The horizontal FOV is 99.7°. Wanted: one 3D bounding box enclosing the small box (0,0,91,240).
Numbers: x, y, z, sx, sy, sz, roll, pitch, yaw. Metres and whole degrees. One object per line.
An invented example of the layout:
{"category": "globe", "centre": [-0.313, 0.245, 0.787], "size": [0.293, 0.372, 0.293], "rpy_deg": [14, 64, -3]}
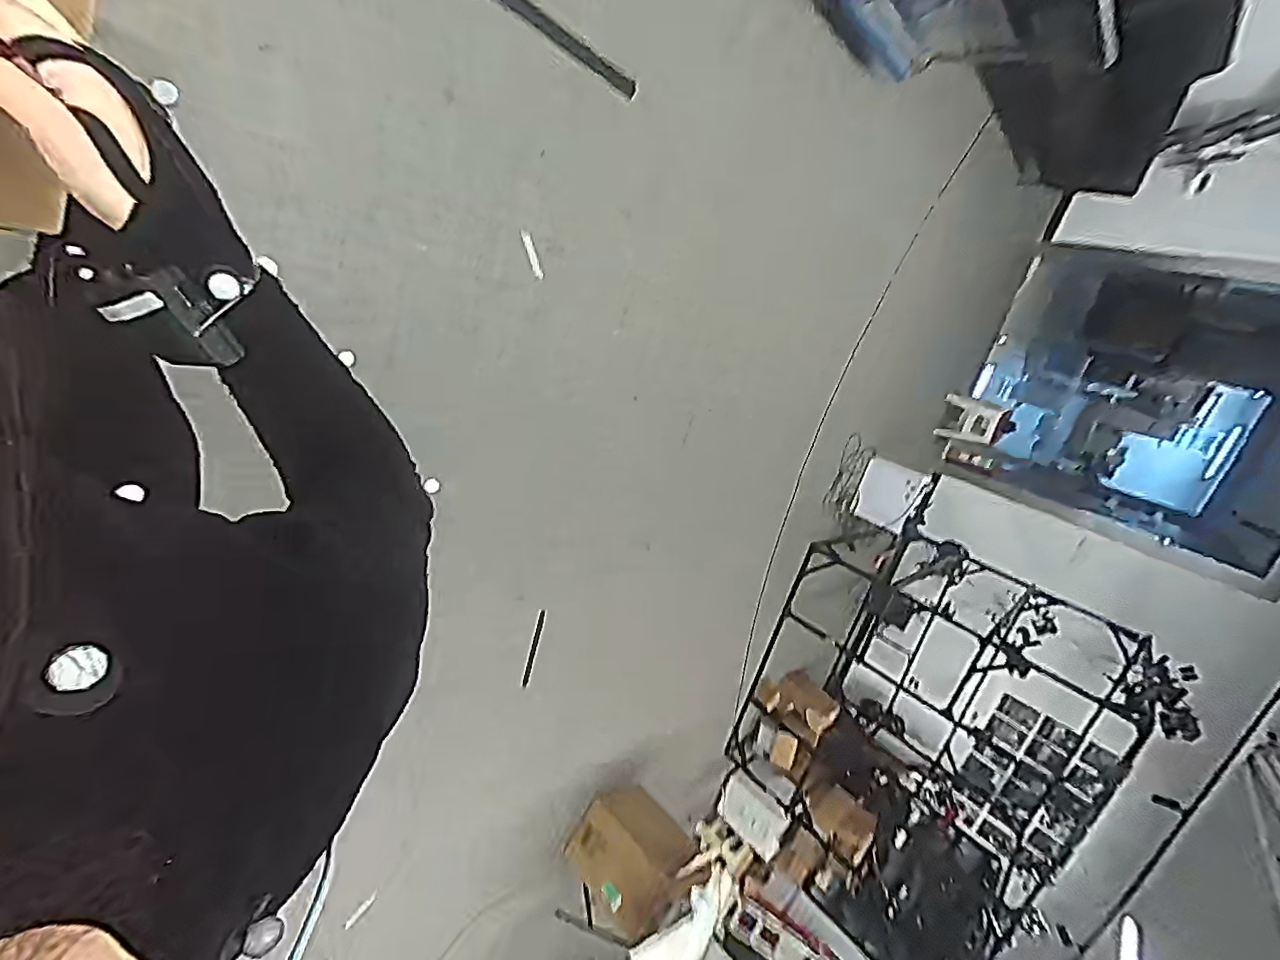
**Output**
{"category": "small box", "centre": [-0.406, -0.224, 0.245], "size": [0.179, 0.176, 0.168], "rpy_deg": [15, 102, -29]}
